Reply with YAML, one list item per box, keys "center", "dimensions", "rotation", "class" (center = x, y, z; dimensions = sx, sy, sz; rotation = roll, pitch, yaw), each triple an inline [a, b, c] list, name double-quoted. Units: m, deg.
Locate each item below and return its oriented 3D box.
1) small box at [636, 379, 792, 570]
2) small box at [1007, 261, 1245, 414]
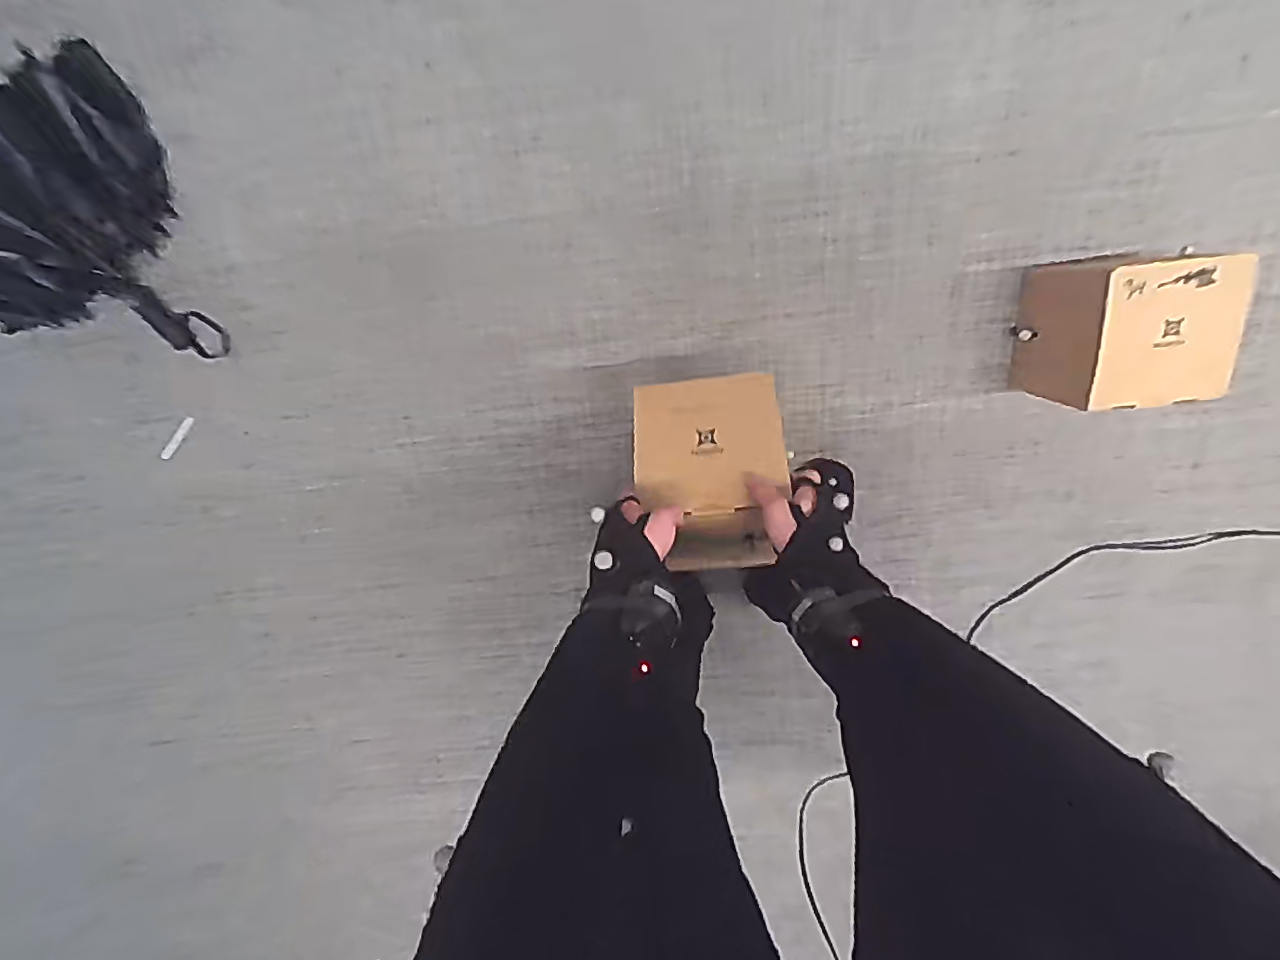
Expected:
- center: [0.090, 0.004, 0.667]
  dimensions: [0.168, 0.179, 0.176]
  rotation: [-5, 148, 8]
  class: "small box"
- center: [0.646, -0.202, 0.749]
  dimensions: [0.168, 0.176, 0.179]
  rotation: [-5, 110, 4]
  class: "small box"
